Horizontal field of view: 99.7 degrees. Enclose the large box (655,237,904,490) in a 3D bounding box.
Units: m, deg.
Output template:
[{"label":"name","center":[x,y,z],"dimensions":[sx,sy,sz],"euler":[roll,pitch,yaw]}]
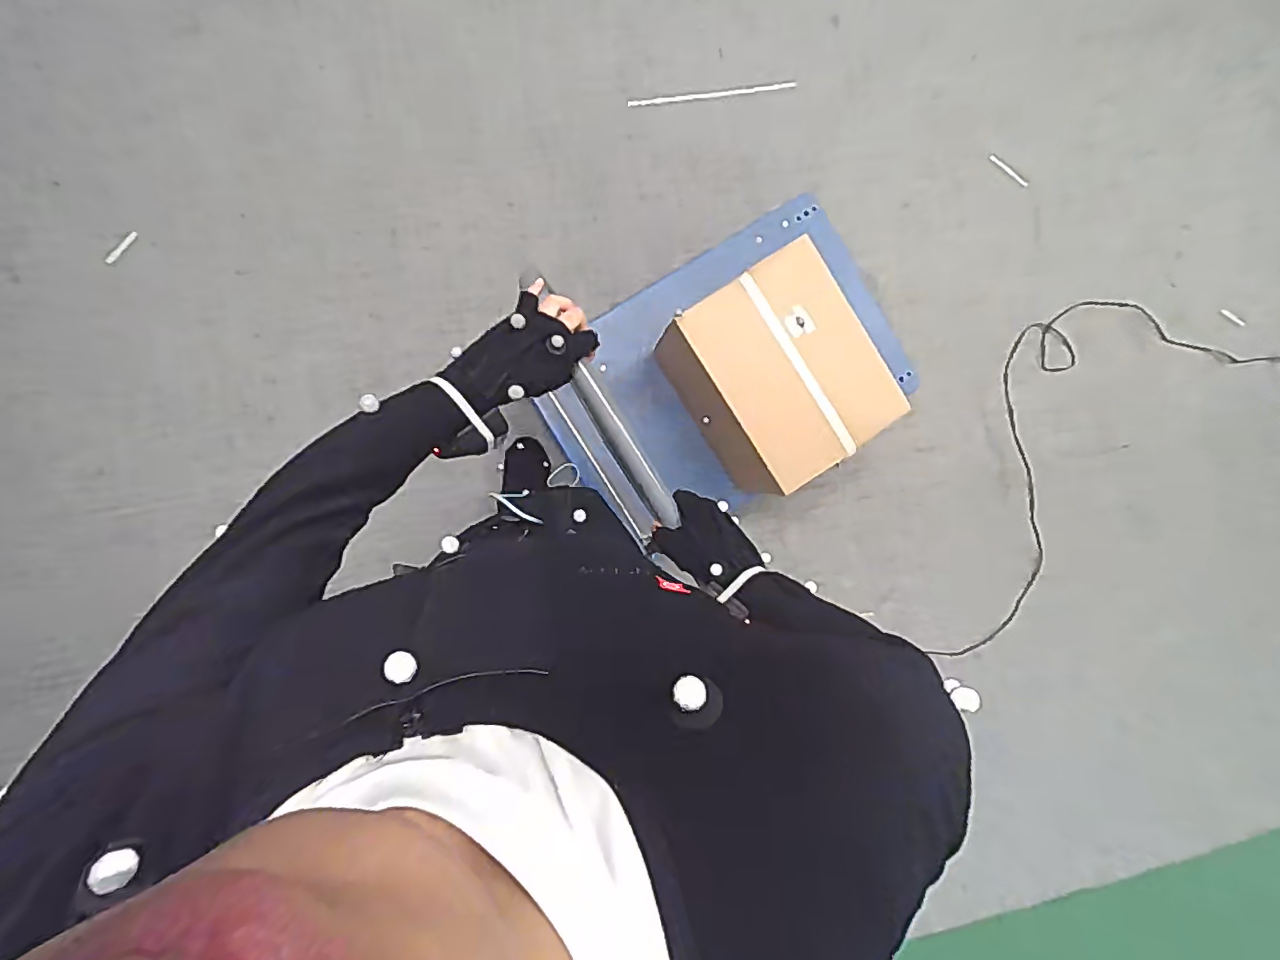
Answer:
[{"label":"large box","center":[0.279,-0.227,1.194],"dimensions":[0.320,0.320,0.408],"euler":[-33,93,-5]}]
